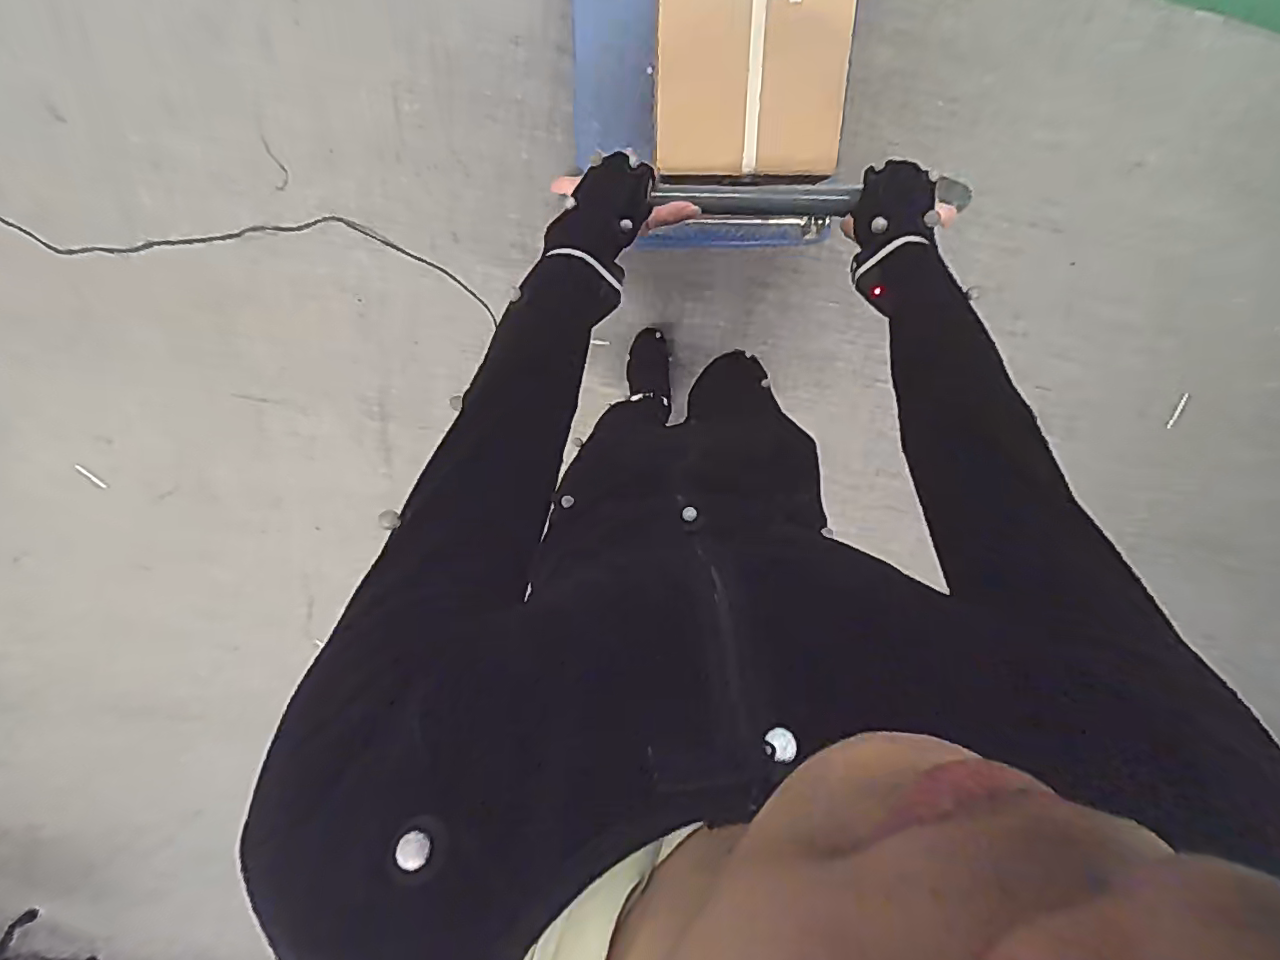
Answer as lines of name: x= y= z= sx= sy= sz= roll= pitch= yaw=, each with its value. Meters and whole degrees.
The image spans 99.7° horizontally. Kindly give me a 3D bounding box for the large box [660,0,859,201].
large box: x=0.192 y=-0.762 z=1.000 sx=0.320 sy=0.320 sz=0.408 roll=0 pitch=110 yaw=0
